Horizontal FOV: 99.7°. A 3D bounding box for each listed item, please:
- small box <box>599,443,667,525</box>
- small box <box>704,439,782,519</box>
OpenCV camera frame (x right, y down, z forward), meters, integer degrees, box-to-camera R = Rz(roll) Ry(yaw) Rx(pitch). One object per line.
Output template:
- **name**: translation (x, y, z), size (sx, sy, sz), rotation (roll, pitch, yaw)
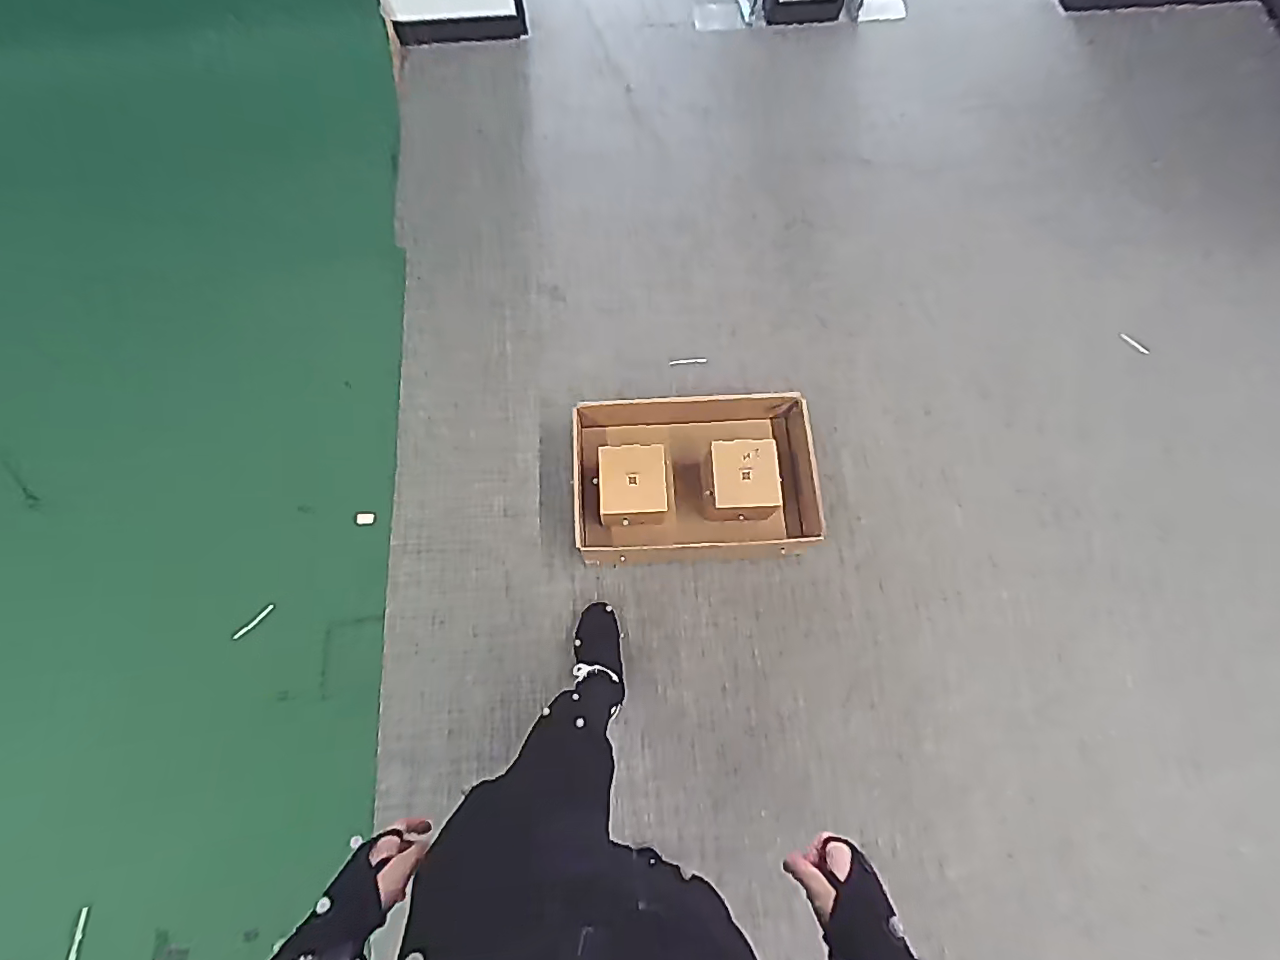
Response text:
- **small box**: translation (-0.019, 0.017, 1.400), size (0.168, 0.176, 0.179), rotation (-2, 72, -2)
- **small box**: translation (0.262, 0.003, 1.409), size (0.168, 0.176, 0.179), rotation (-1, 73, -1)
